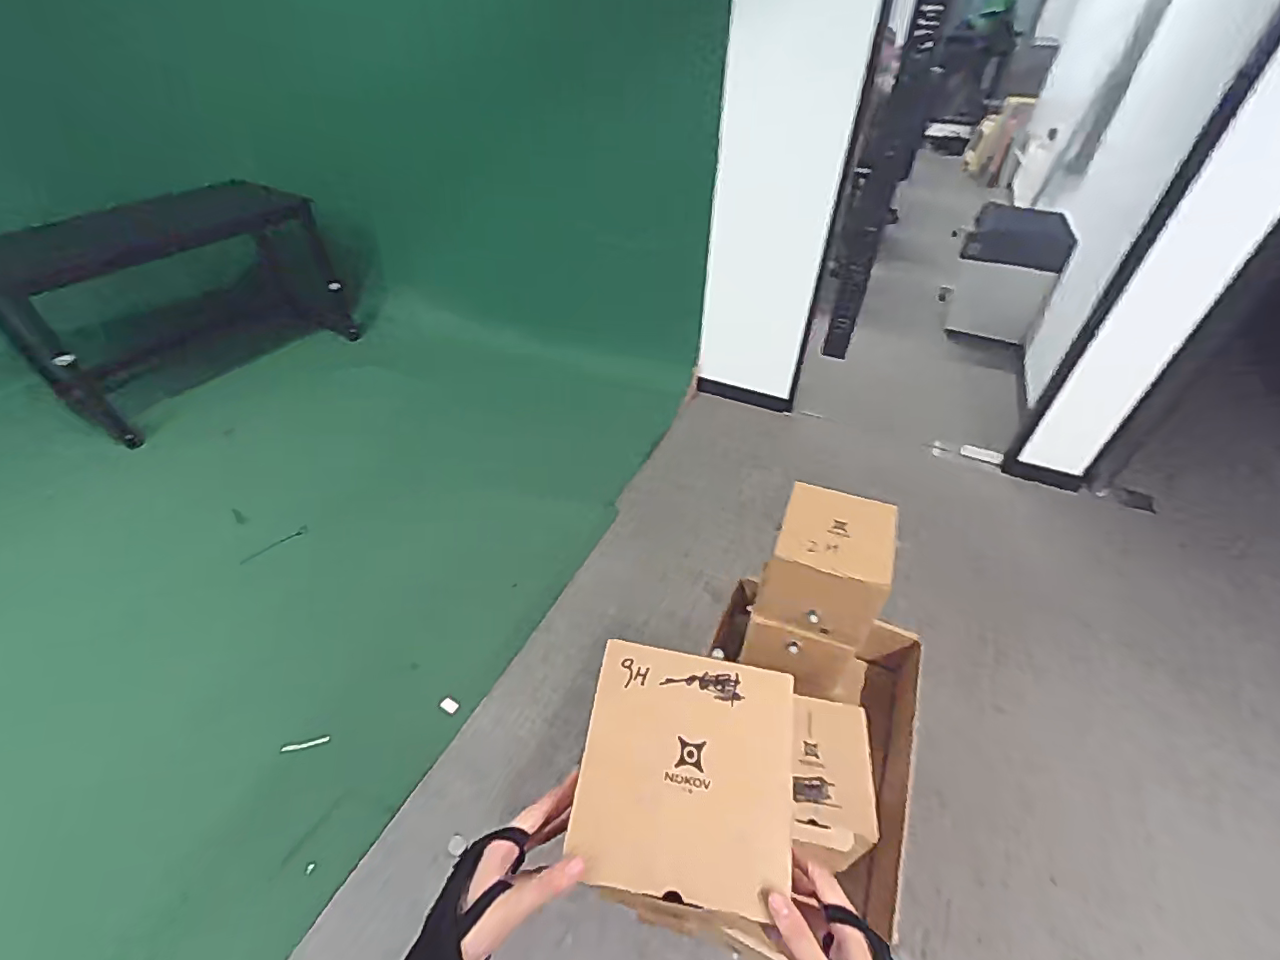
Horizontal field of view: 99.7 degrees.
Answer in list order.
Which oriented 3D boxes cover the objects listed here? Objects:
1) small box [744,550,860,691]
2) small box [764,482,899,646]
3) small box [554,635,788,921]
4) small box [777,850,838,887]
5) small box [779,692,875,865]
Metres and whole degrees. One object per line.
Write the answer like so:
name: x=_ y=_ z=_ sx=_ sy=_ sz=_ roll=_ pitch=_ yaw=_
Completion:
small box: x=0.302 y=0.262 z=1.000 sx=0.179 sy=0.176 sz=0.168 roll=14 pitch=45 yaw=16
small box: x=0.311 y=0.137 z=0.892 sx=0.168 sy=0.176 sz=0.179 roll=15 pitch=46 yaw=17
small box: x=0.028 y=0.264 z=0.497 sx=0.168 sy=0.176 sz=0.179 roll=11 pitch=59 yaw=2
small box: x=0.234 y=0.560 z=0.922 sx=0.168 sy=0.176 sz=0.179 roll=9 pitch=43 yaw=8
small box: x=0.236 y=0.443 z=0.808 sx=0.168 sy=0.176 sz=0.179 roll=9 pitch=43 yaw=8
